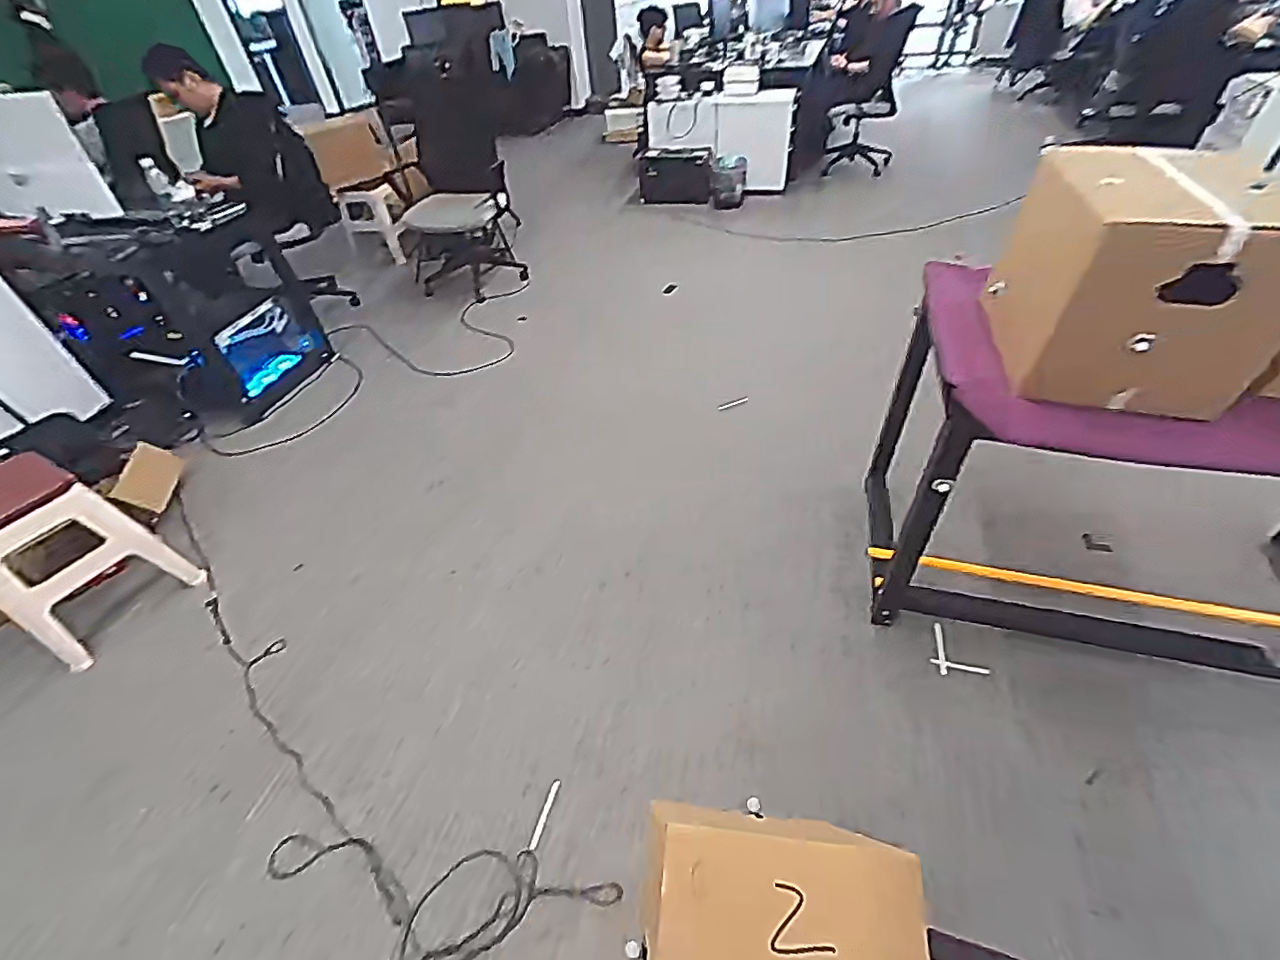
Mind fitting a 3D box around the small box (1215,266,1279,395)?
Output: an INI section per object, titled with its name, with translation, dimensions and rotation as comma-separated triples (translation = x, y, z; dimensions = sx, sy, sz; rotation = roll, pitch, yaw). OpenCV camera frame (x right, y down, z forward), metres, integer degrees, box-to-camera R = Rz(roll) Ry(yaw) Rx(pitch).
[small box]
translation = 1.188, -0.253, 0.939
dimensions = 0.179, 0.176, 0.168
rotation = 7, 44, 14
